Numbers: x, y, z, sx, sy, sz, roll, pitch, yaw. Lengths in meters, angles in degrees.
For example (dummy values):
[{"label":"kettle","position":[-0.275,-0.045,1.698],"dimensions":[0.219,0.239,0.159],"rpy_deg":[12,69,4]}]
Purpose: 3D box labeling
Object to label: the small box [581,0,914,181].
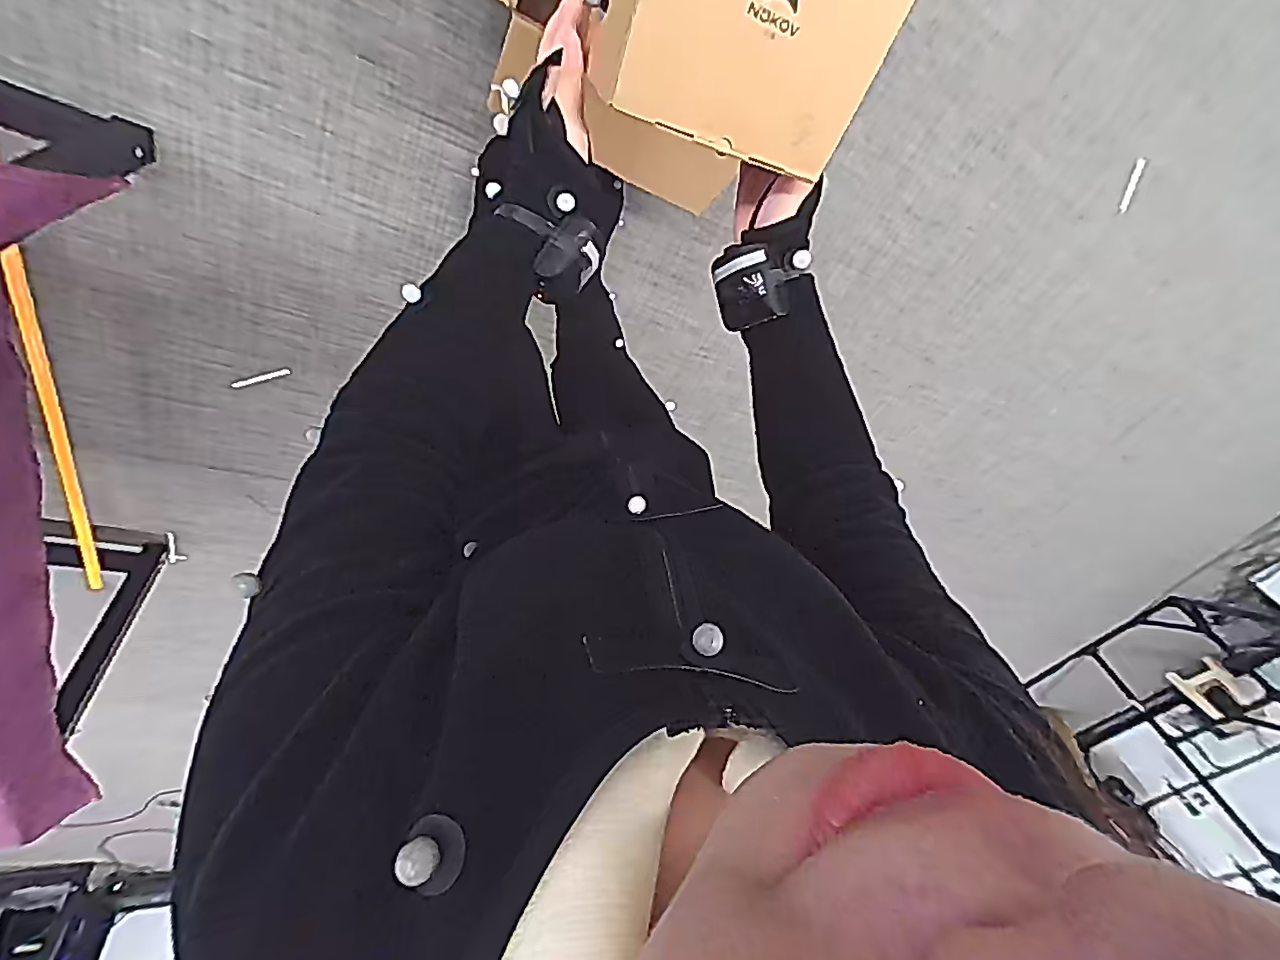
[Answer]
[{"label":"small box","position":[0.066,-0.342,0.360],"dimensions":[0.168,0.176,0.179],"rpy_deg":[5,135,-24]}]
